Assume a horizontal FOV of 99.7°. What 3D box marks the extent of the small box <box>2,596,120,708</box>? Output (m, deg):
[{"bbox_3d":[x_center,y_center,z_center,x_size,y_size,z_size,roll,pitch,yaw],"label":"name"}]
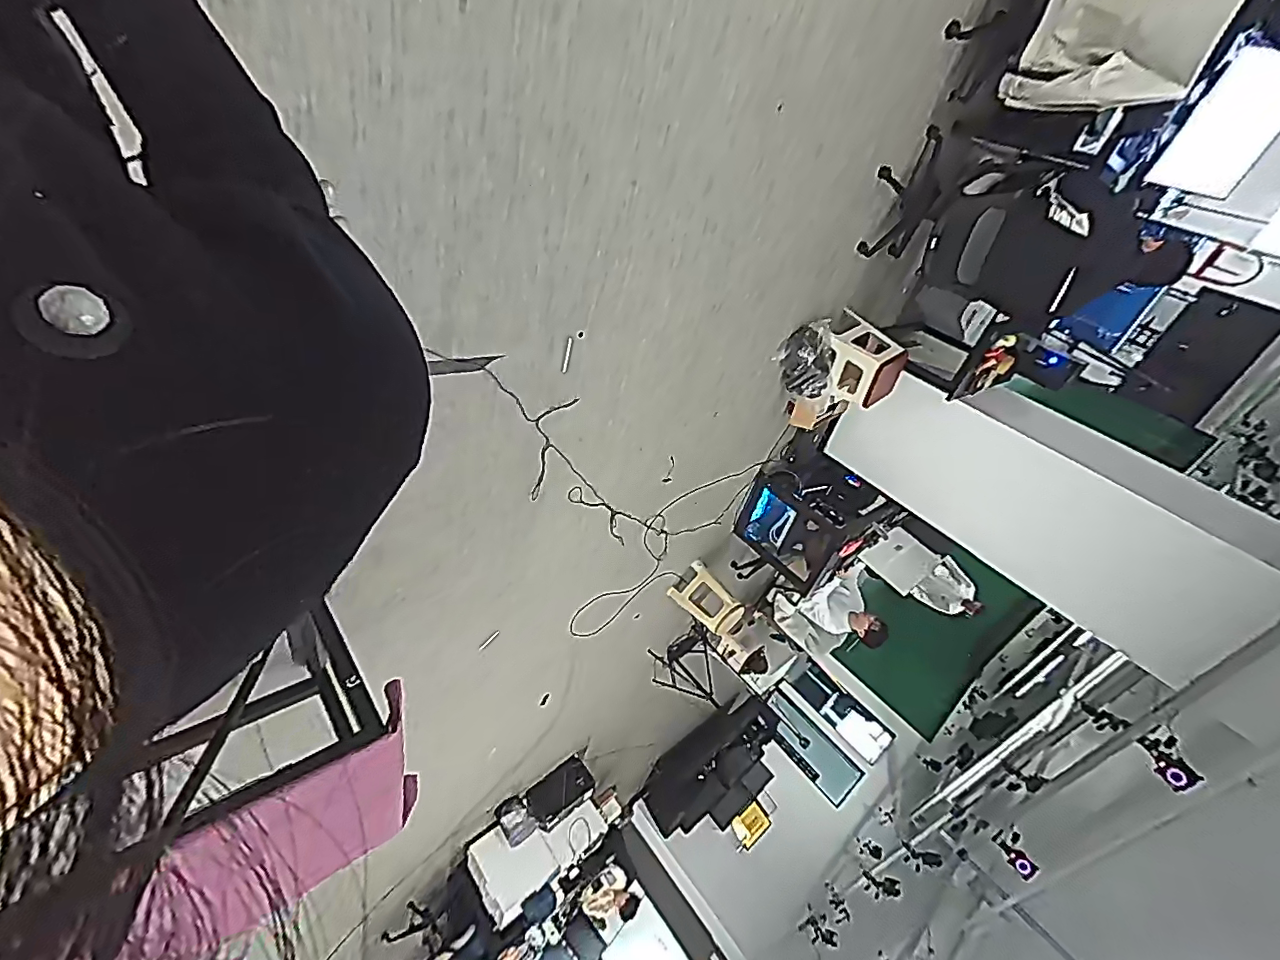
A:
[{"bbox_3d":[-1.453,0.426,1.362,0.168,0.176,0.179,-19,137,-40],"label":"small box"}]
